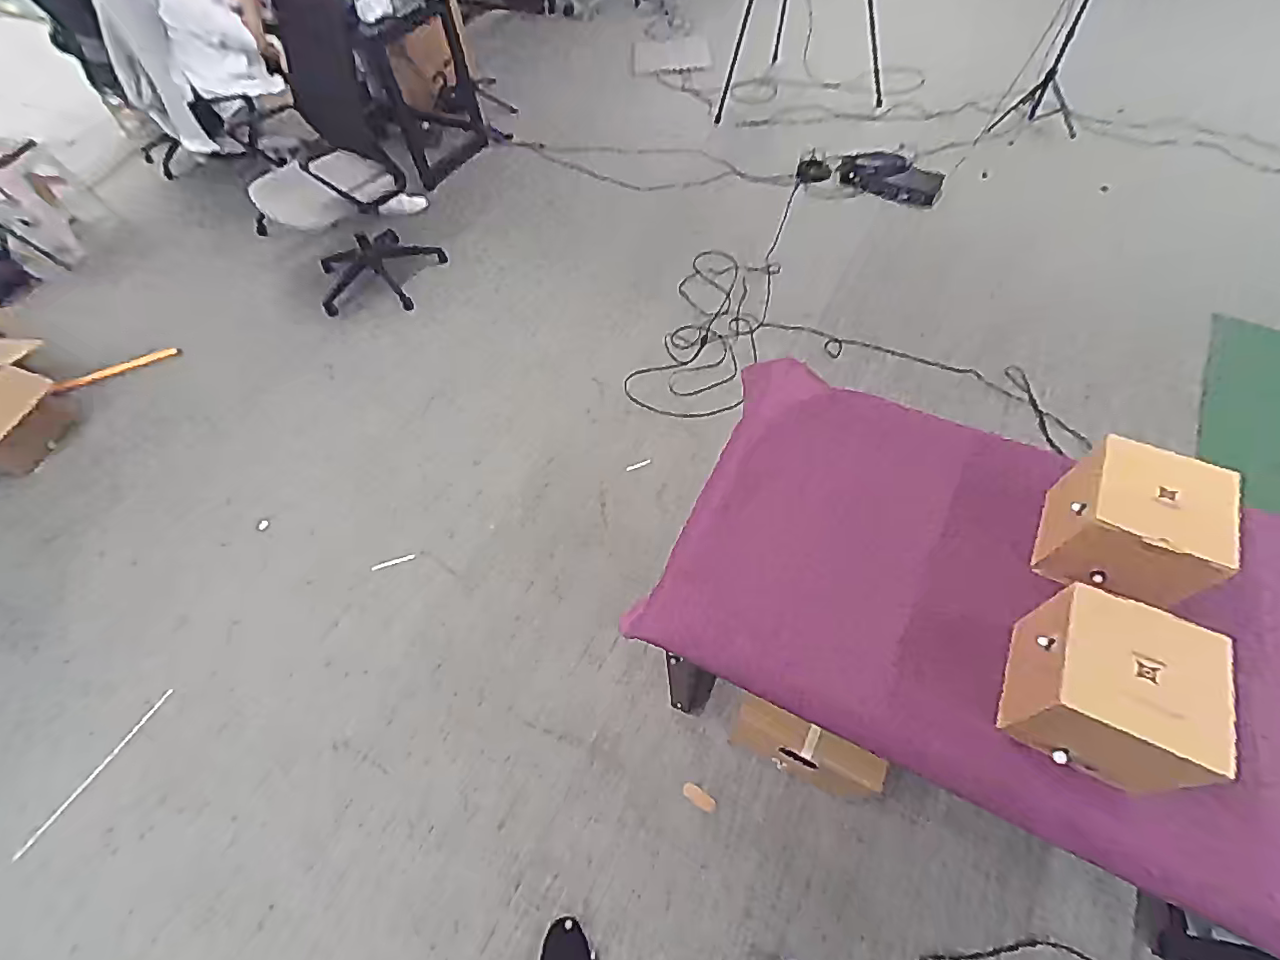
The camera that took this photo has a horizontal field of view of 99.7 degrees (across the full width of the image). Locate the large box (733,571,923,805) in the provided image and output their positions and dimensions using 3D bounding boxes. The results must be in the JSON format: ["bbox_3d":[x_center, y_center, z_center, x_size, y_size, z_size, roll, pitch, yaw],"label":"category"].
[{"bbox_3d":[0.450,0.512,1.336,0.320,0.320,0.408,22,60,18],"label":"large box"}]

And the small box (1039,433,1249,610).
[{"bbox_3d":[0.740,0.068,0.810,0.168,0.176,0.179,24,62,19],"label":"small box"}]

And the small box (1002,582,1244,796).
[{"bbox_3d":[0.595,0.267,0.686,0.168,0.176,0.179,23,60,20],"label":"small box"}]
